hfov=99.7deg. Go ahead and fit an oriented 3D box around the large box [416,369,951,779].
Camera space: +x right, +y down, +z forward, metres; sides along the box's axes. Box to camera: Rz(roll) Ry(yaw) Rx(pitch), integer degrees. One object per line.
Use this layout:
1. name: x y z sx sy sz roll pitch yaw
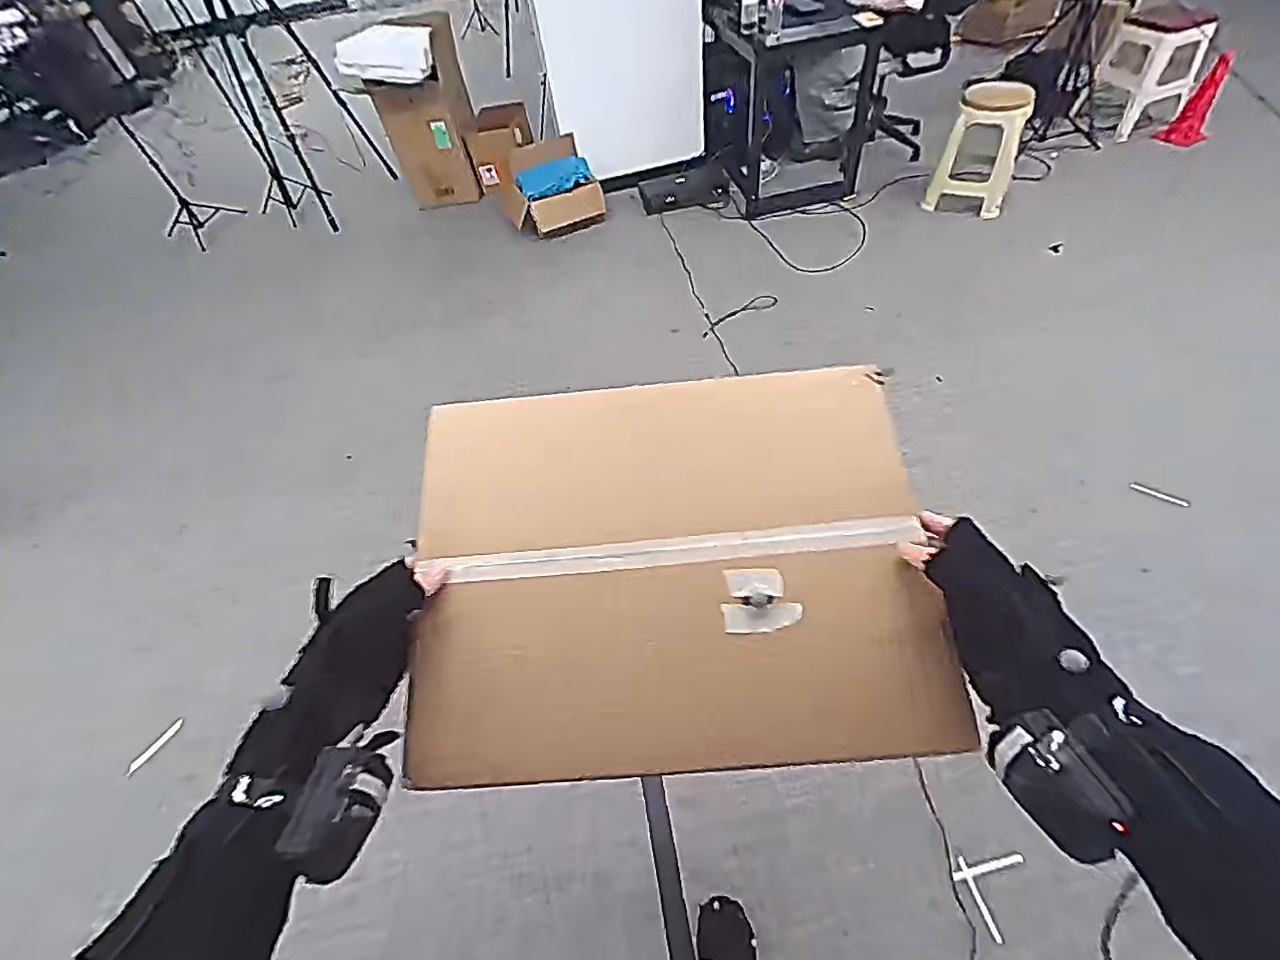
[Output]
1. large box: 0.024 0.115 0.588 0.408 0.320 0.320 -6 67 1
